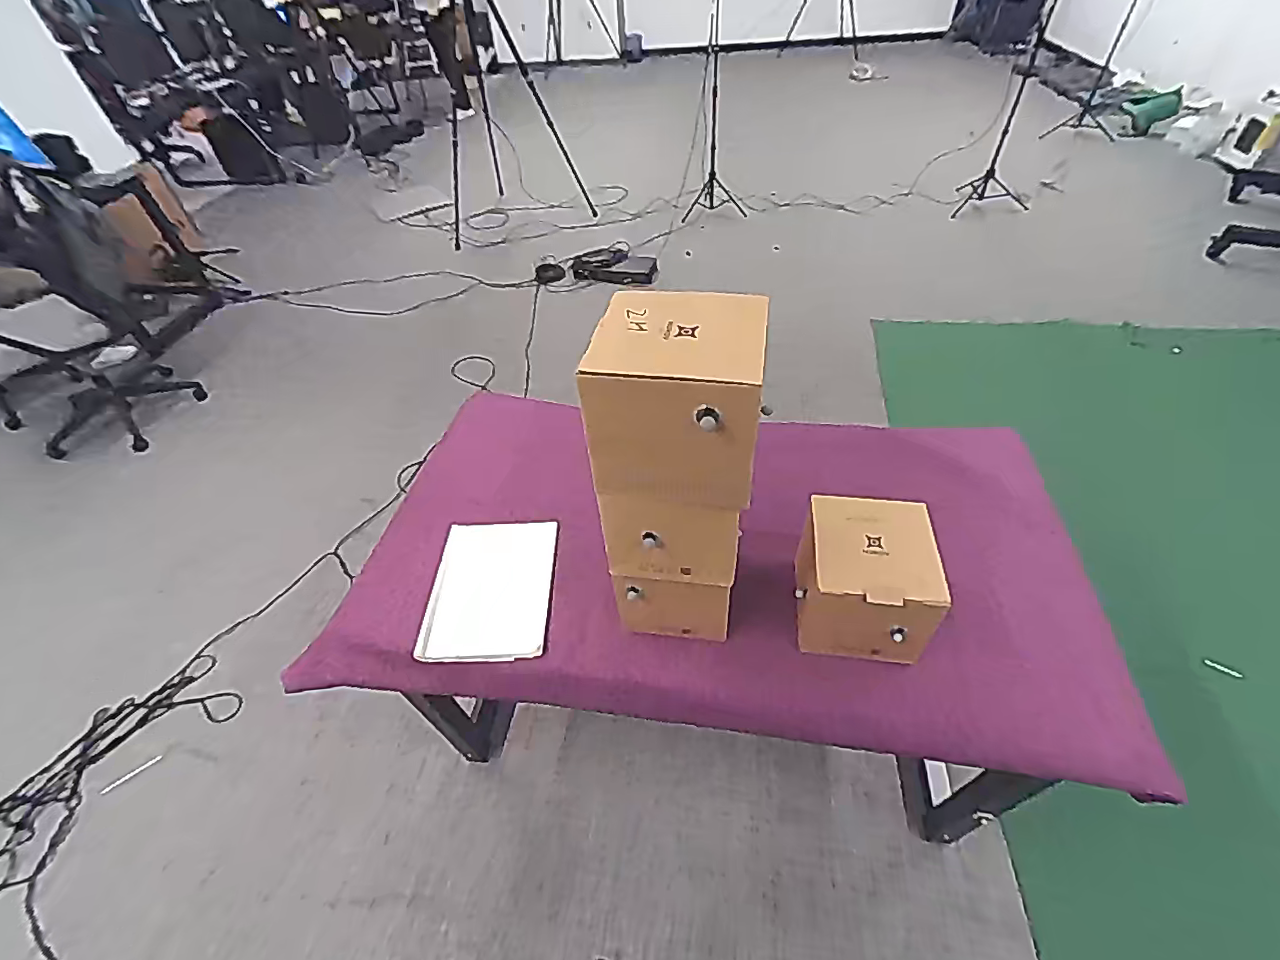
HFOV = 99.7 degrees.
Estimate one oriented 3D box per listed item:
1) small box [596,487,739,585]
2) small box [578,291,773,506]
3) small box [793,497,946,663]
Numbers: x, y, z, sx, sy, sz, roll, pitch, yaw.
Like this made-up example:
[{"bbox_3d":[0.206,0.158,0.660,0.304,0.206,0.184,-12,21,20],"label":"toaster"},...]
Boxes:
[{"bbox_3d":[0.049,0.021,0.725,0.168,0.176,0.179,5,46,9],"label":"small box"},{"bbox_3d":[0.046,-0.089,0.602,0.179,0.176,0.168,6,46,11],"label":"small box"},{"bbox_3d":[0.326,0.150,0.806,0.168,0.176,0.179,5,46,9],"label":"small box"}]
